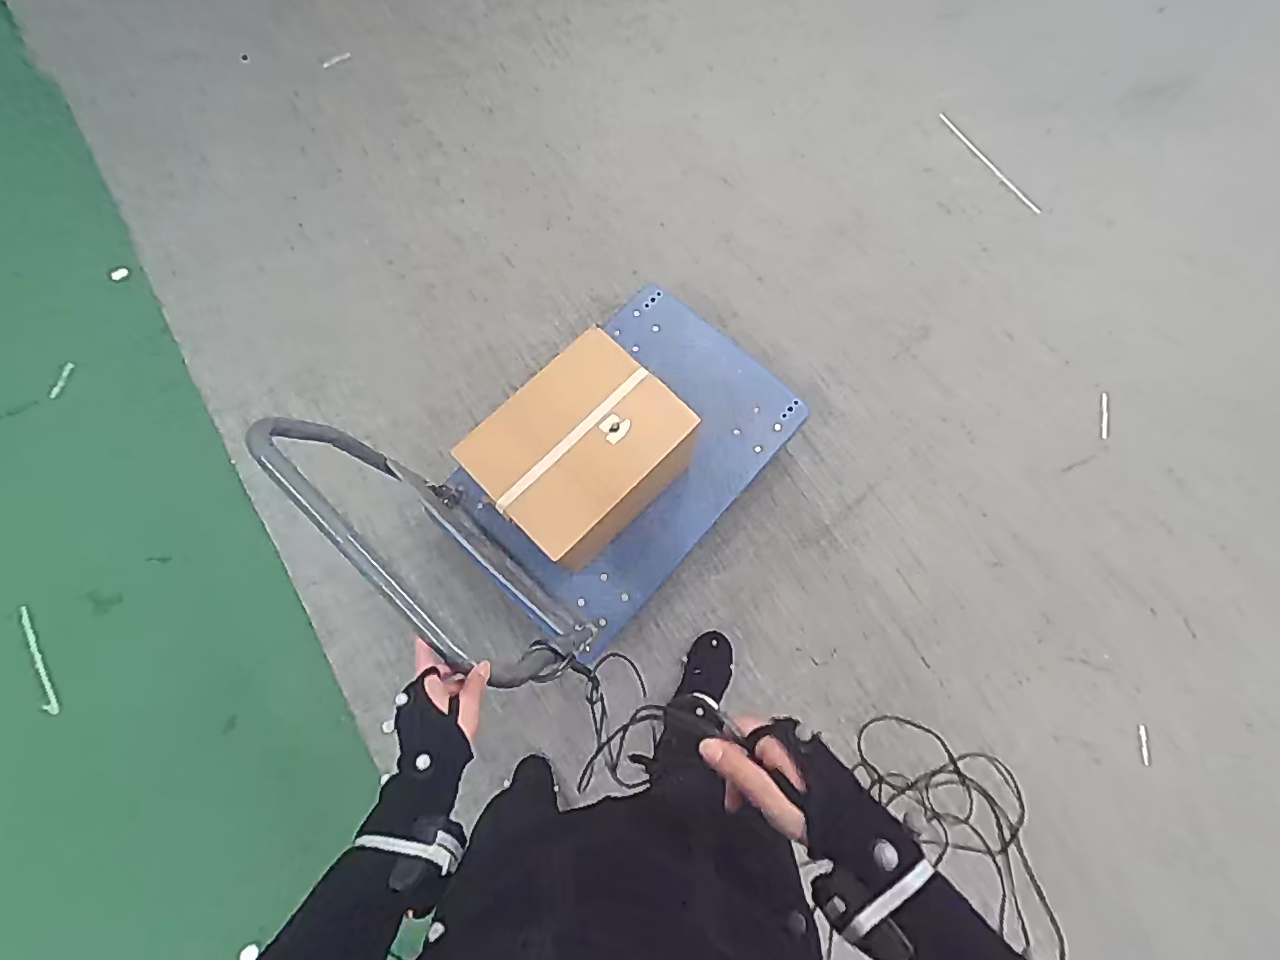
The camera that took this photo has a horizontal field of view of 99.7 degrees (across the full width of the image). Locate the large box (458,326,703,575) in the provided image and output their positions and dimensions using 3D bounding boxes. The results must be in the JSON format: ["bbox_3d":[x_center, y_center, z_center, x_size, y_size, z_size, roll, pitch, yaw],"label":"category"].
[{"bbox_3d":[-0.115,-0.045,1.206,0.408,0.320,0.320,-44,80,-10],"label":"large box"}]
